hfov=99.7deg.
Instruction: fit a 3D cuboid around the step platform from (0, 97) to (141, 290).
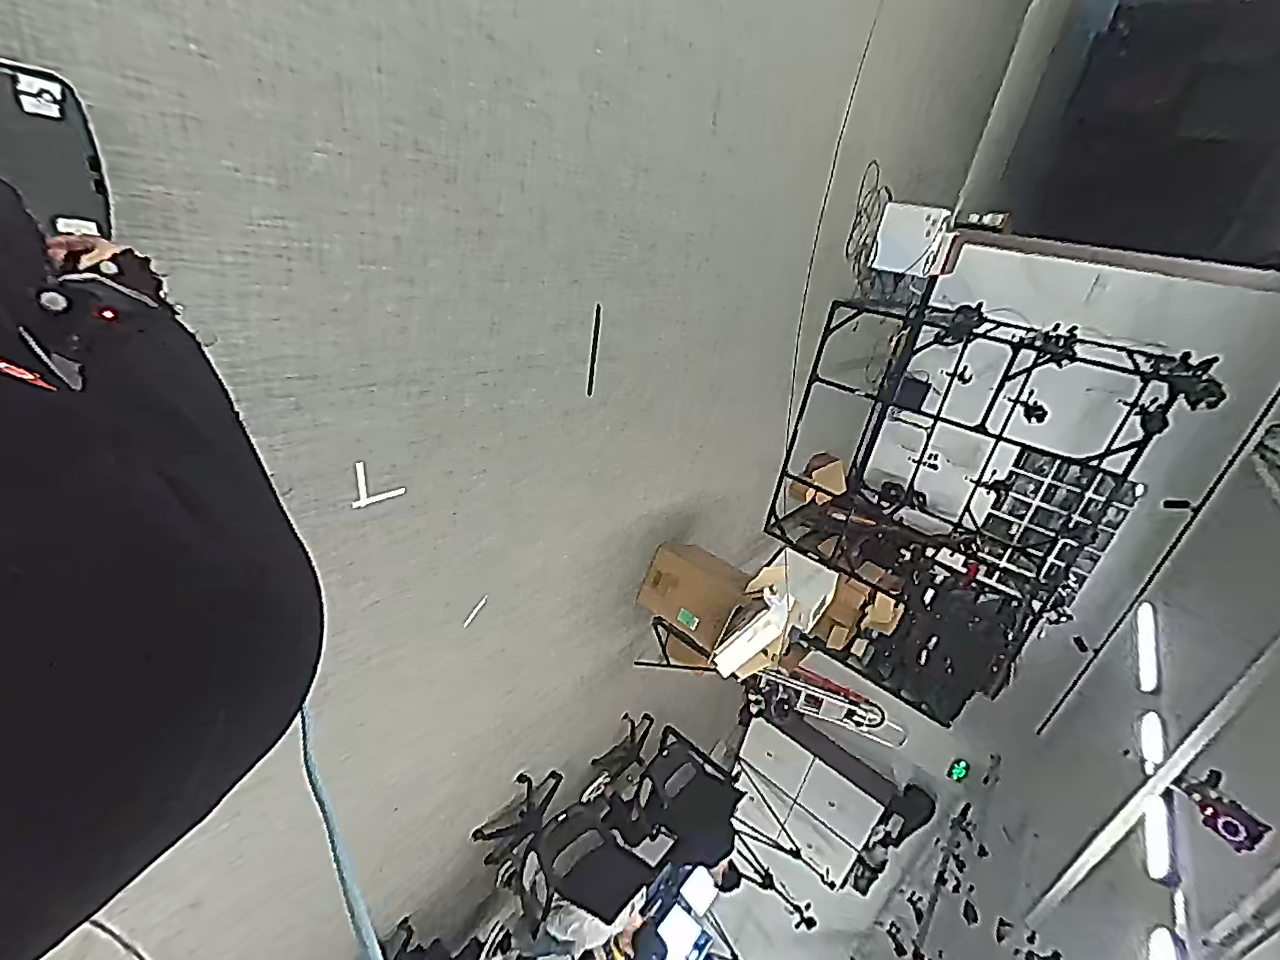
[{"bbox_3d":[-1.177,-0.457,0.771,0.684,0.204,0.286,-15,124,-50],"label":"step platform"}]
